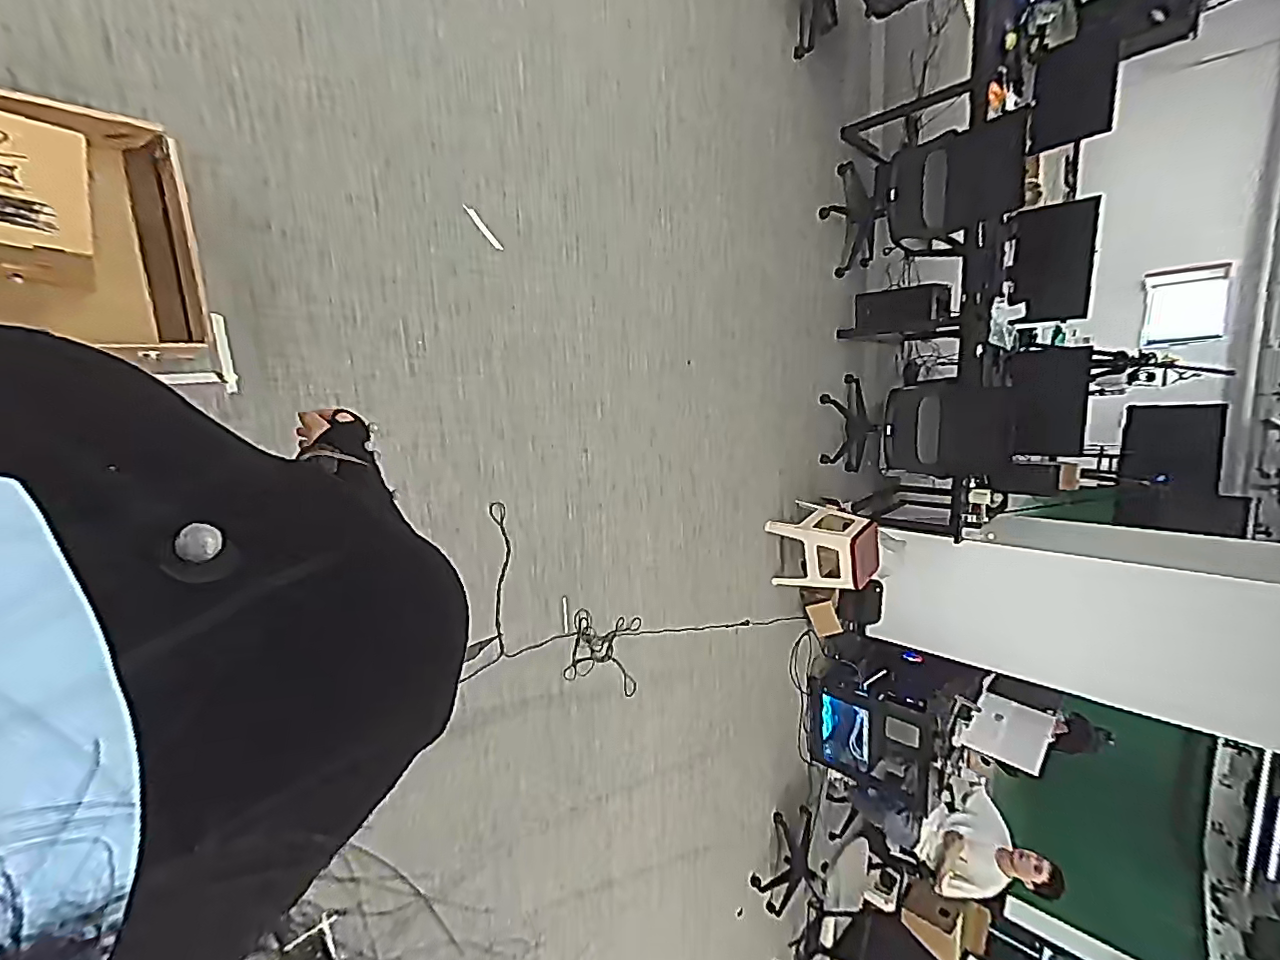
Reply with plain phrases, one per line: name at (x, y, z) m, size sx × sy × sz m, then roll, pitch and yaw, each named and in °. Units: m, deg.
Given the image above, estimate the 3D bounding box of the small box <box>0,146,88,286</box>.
small box at (-1.049, -0.439, 0.904) m, size 0.168 × 0.176 × 0.179 m, roll -6°, pitch 100°, yaw -44°
